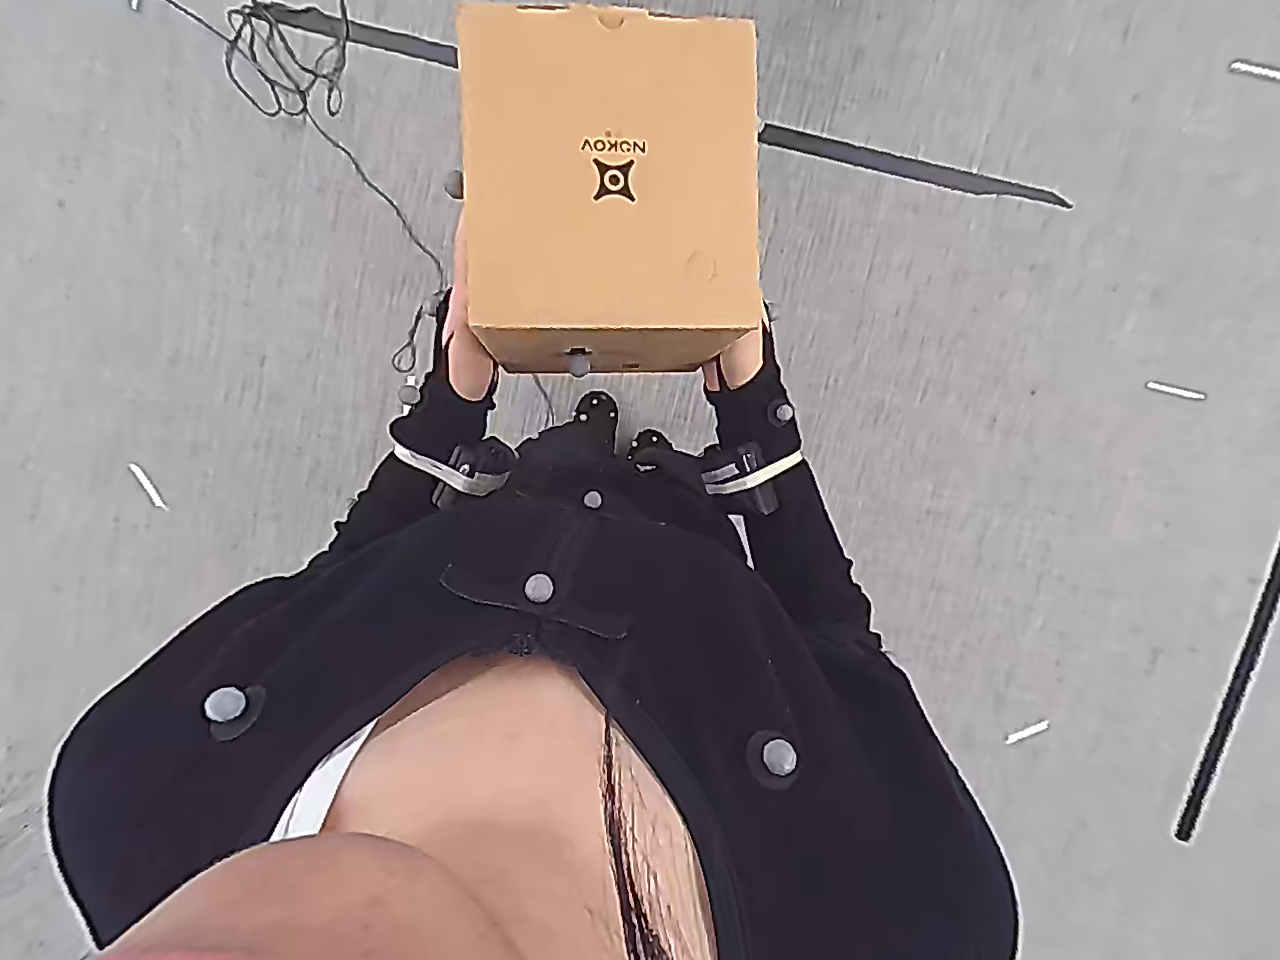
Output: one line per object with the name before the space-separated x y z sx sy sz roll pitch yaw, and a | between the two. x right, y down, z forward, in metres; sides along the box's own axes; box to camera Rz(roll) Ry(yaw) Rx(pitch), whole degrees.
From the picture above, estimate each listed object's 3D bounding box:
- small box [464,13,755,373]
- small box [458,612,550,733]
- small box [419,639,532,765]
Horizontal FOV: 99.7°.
small box | -0.023 -0.174 0.387 0.168 0.176 0.179 -2 91 -7
small box | -0.297 0.407 1.164 0.168 0.176 0.179 10 95 0
small box | -0.305 0.415 1.003 0.168 0.176 0.179 9 96 2
